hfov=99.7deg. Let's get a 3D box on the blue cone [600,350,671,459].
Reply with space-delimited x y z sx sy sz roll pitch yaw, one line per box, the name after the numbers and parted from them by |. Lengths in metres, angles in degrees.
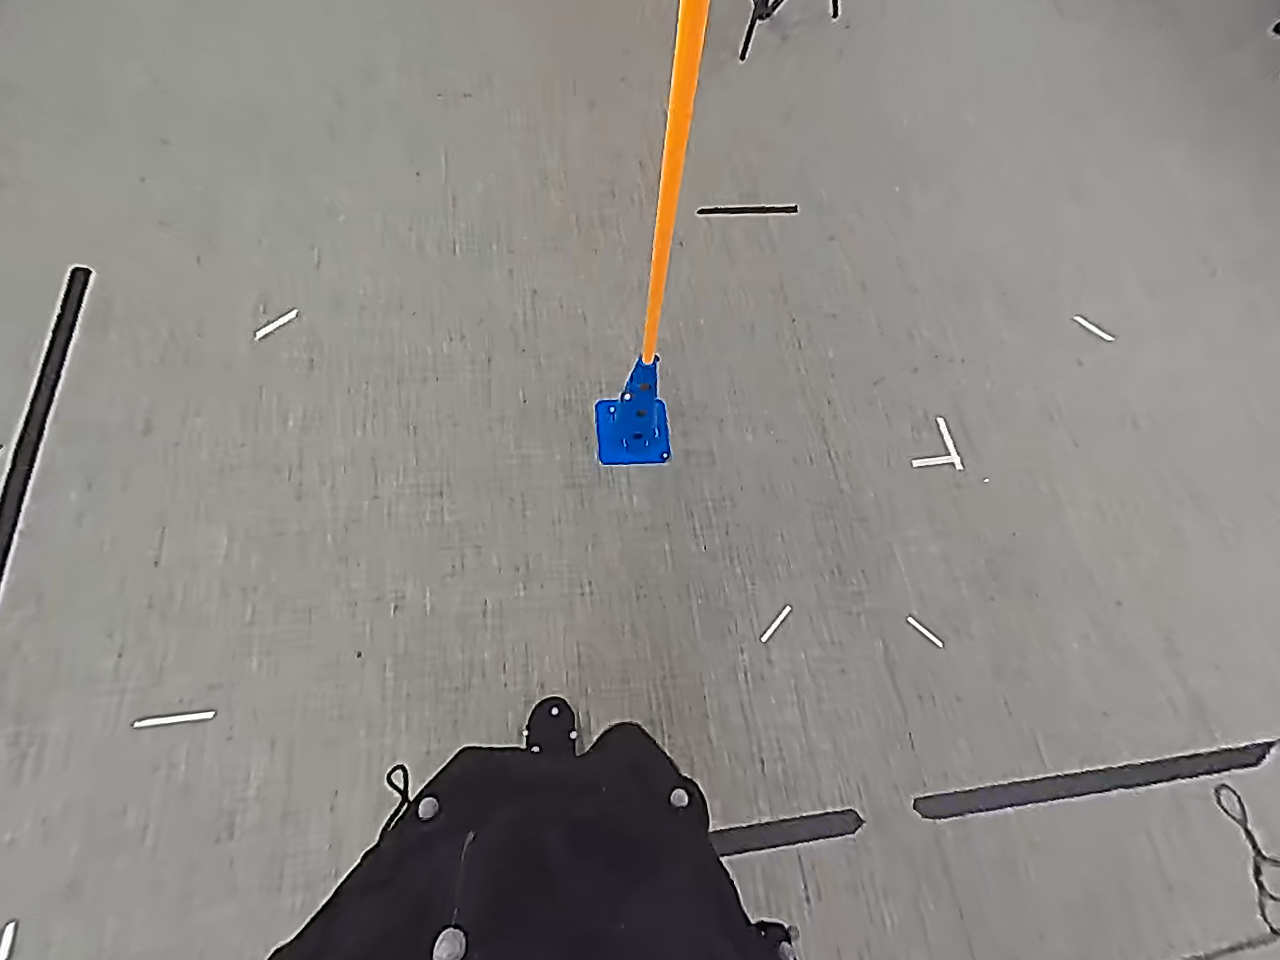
0.006 -0.204 1.360 0.192 0.380 0.193 -1 69 -8 | blue cone
